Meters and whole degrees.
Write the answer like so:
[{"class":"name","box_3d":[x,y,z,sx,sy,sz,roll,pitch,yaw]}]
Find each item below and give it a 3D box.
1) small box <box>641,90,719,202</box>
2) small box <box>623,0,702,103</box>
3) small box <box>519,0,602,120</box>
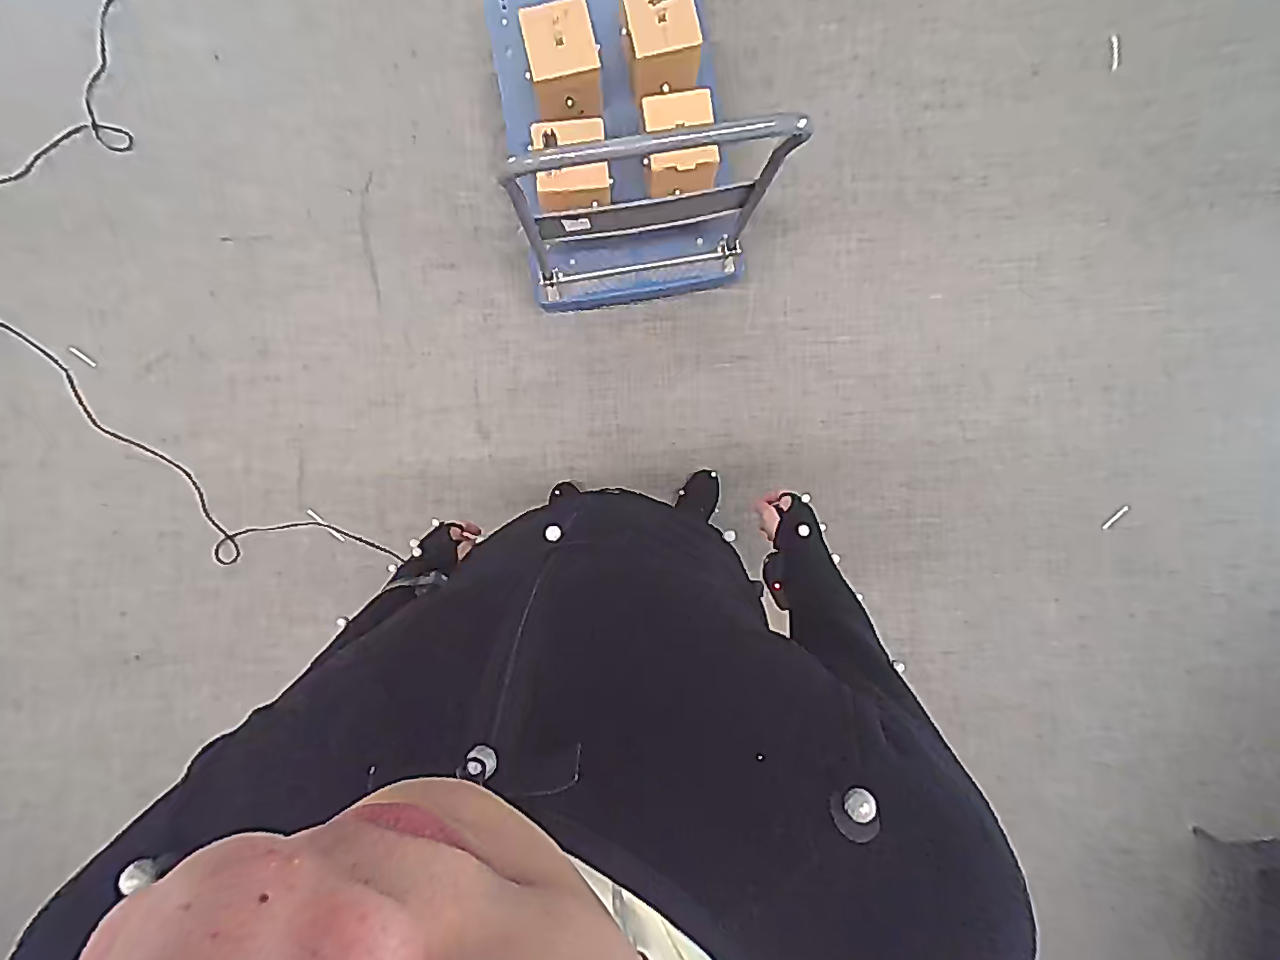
[{"class":"small box","box_3d":[0.096,-0.847,1.384,0.168,0.176,0.179,-9,92,-1]},{"class":"small box","box_3d":[0.050,-1.113,1.376,0.168,0.176,0.179,-13,92,0]},{"class":"small box","box_3d":[-0.194,-1.054,1.375,0.168,0.176,0.179,-13,91,-1]}]
